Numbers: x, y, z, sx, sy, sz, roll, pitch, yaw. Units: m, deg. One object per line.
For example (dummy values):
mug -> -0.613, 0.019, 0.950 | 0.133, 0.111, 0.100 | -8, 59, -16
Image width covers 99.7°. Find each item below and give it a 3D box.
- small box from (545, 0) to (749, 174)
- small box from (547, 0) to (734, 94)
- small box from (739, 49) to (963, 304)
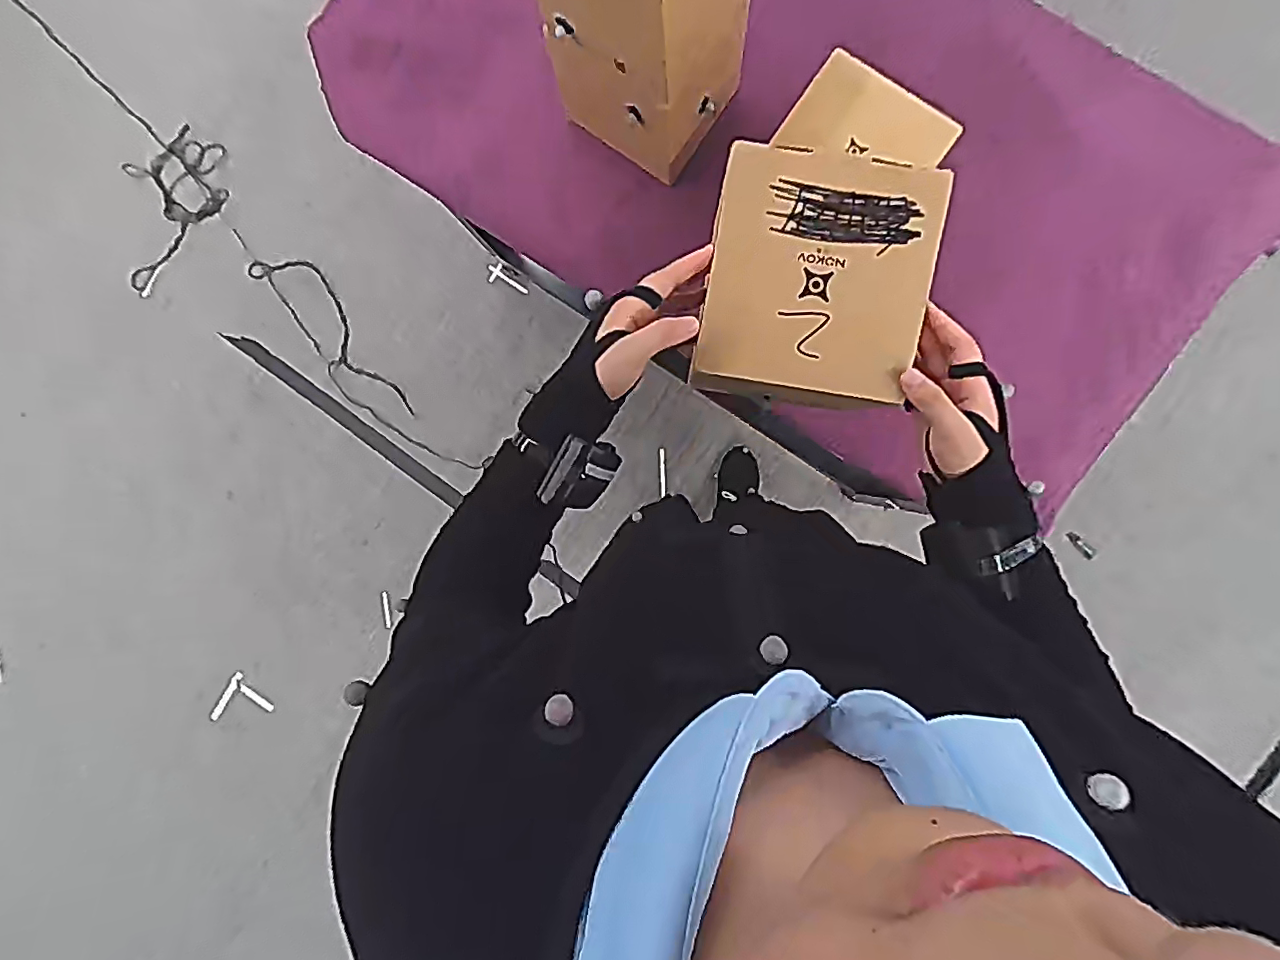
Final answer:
small box -> 0.015, -0.525, 0.677 | 0.179, 0.176, 0.168 | 36, 94, 3
small box -> 0.005, -0.526, 0.513 | 0.168, 0.176, 0.179 | 34, 94, 3
small box -> 0.237, -0.351, 0.663 | 0.168, 0.176, 0.179 | 36, 94, 3
